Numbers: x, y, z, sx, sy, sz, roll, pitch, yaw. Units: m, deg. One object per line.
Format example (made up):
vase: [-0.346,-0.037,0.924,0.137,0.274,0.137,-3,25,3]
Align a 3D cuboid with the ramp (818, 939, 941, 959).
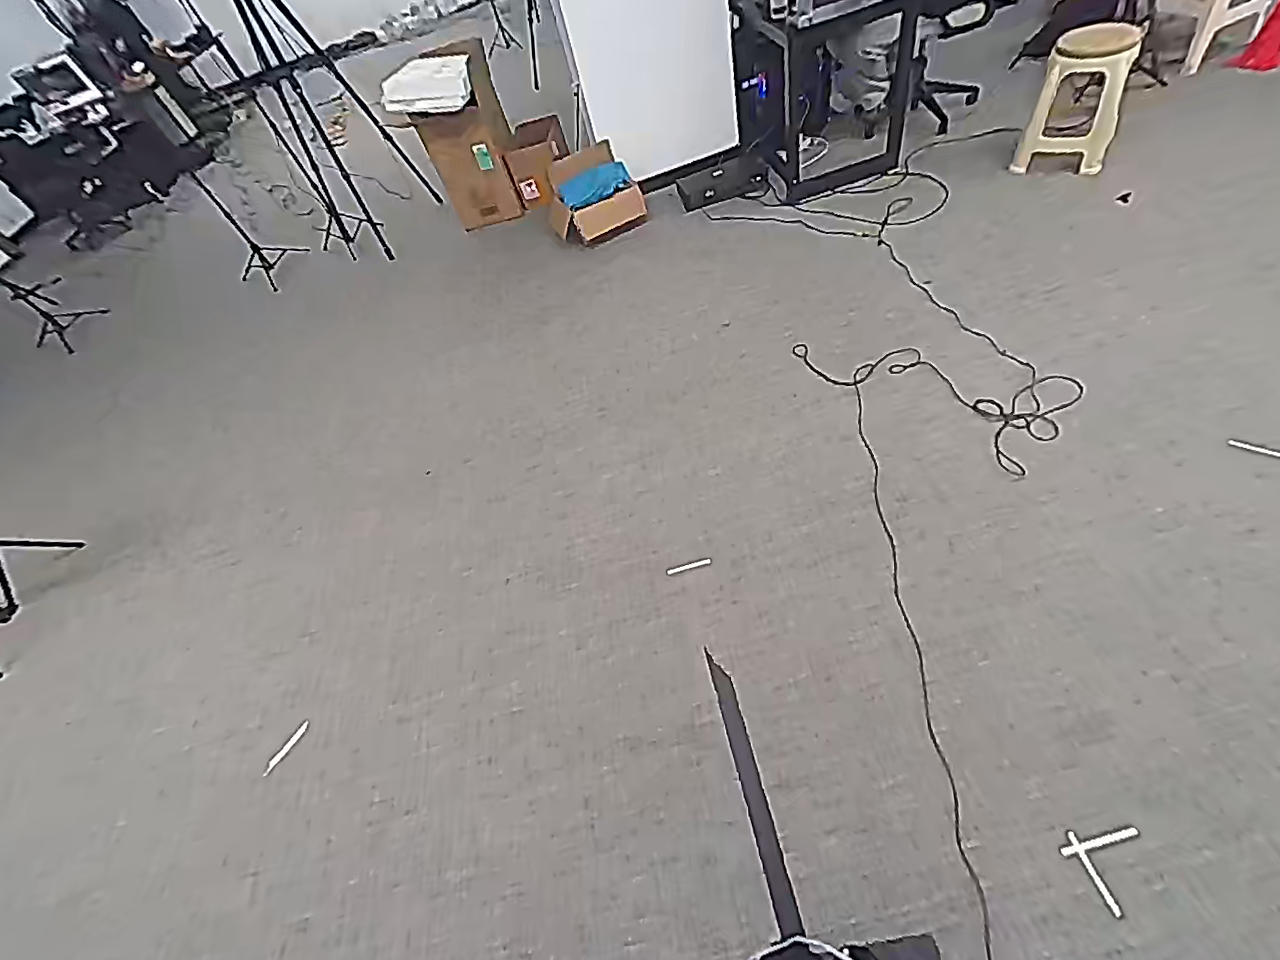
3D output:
ramp: [0.394,1.278,0.700,0.509,0.206,0.991,-17,49,4]
